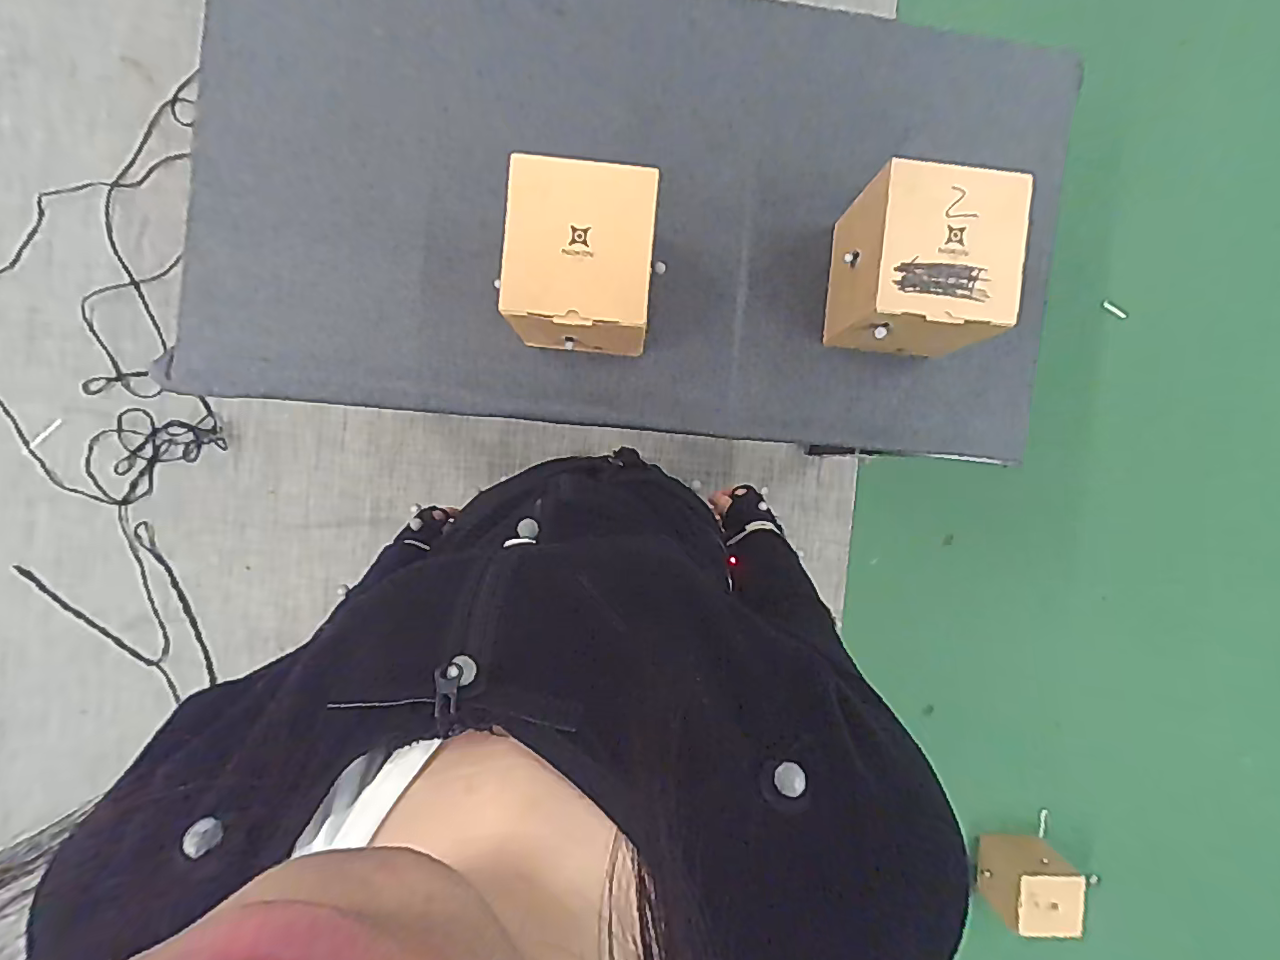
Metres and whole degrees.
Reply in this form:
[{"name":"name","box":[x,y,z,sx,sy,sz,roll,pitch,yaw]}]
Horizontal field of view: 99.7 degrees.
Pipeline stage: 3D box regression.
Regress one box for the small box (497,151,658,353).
[{"name":"small box","box":[-0.074,-0.269,0.675,0.168,0.176,0.179,5,93,-3]}]

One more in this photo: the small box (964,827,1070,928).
[{"name":"small box","box":[1.053,1.109,1.520,0.179,0.176,0.168,2,92,-3]}]
